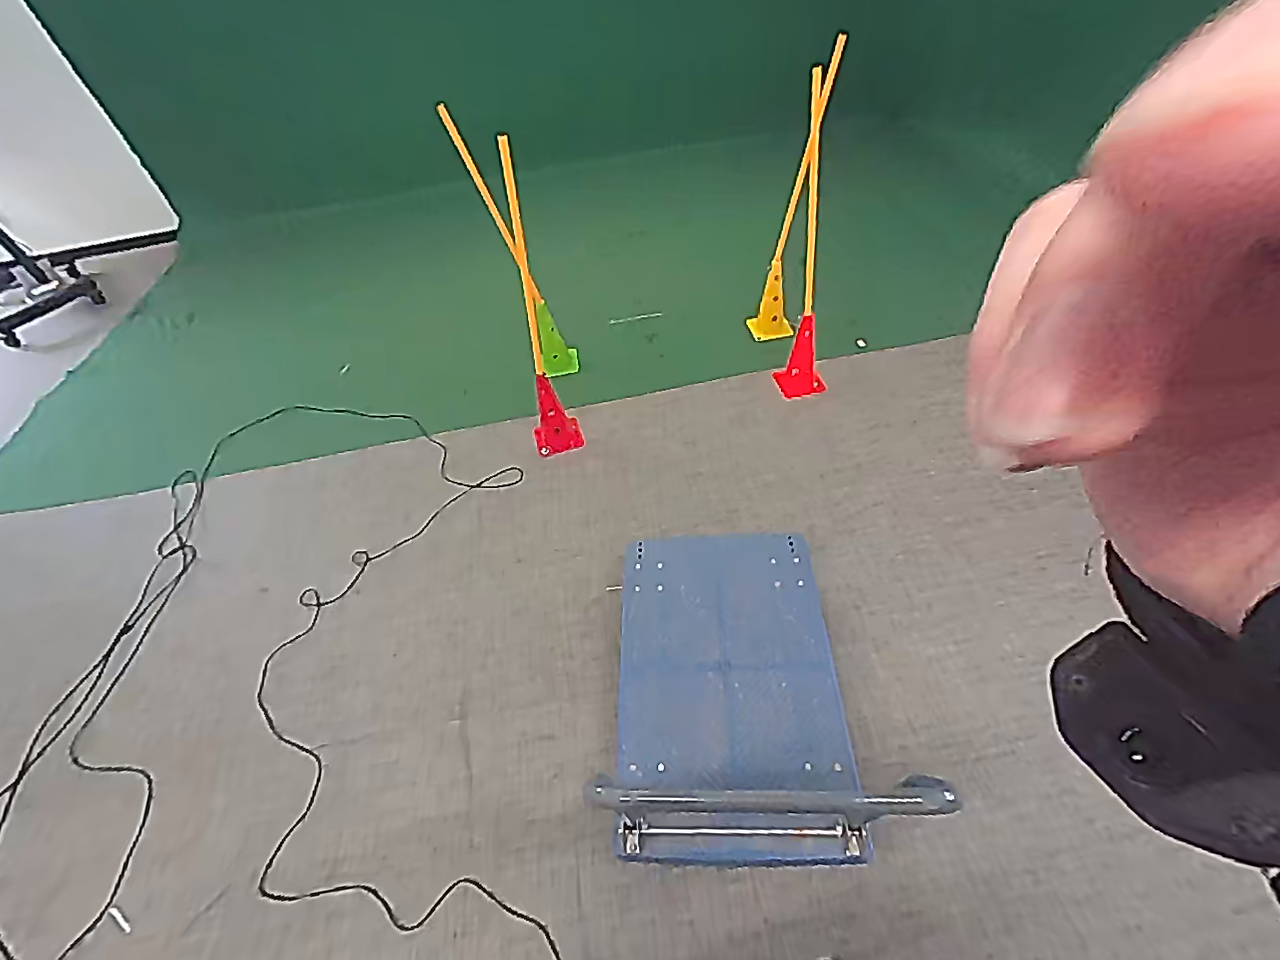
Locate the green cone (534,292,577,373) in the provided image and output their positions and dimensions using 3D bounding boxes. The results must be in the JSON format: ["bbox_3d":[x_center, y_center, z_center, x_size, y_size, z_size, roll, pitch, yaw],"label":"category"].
[{"bbox_3d":[-0.442,-0.733,2.622,0.200,0.368,0.202,-11,47,-1],"label":"green cone"}]

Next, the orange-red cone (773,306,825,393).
[{"bbox_3d":[0.702,-0.581,2.333,0.198,0.360,0.199,-10,47,-2],"label":"orange-red cone"}]
